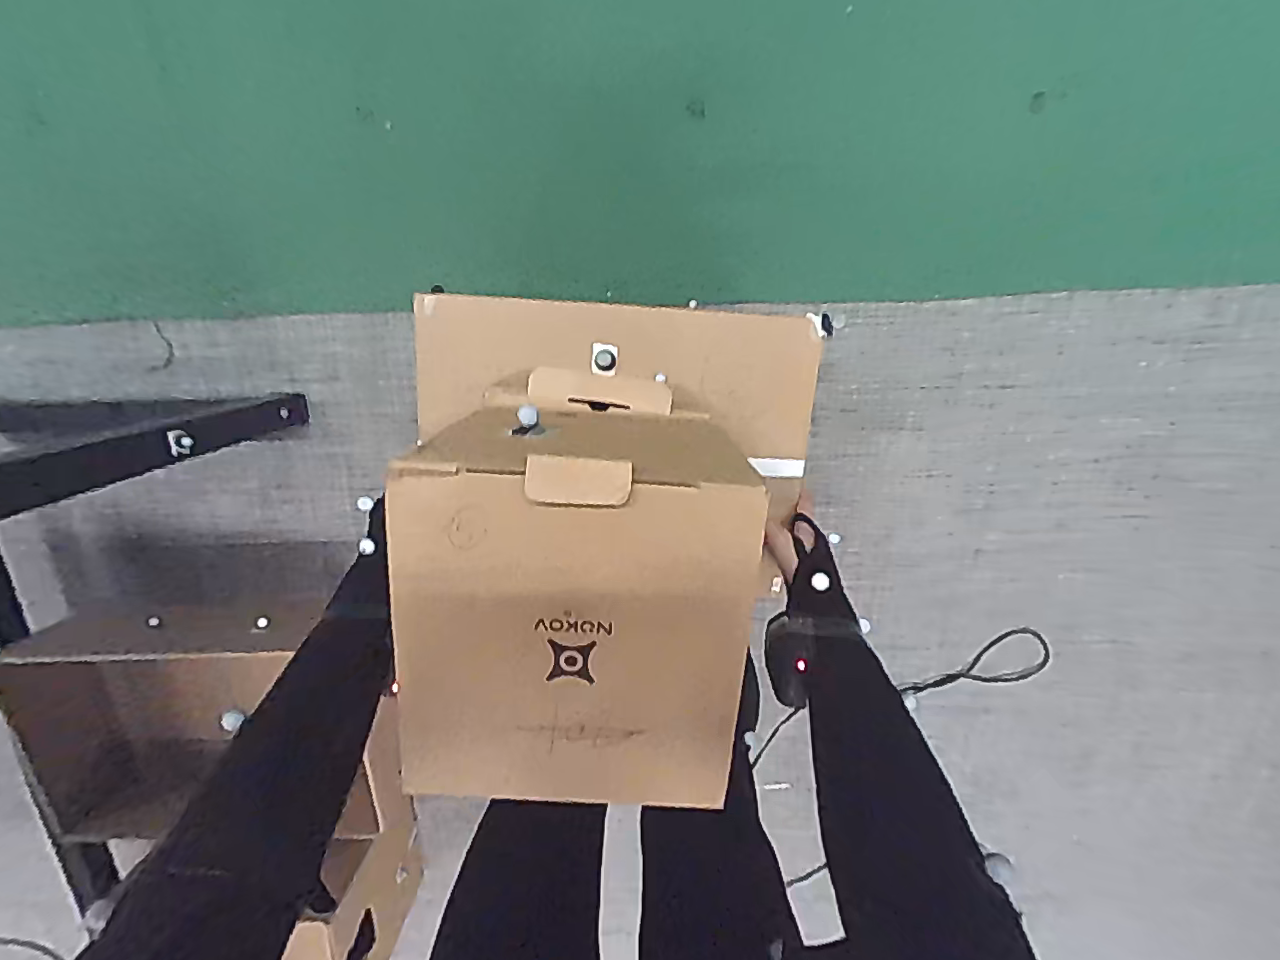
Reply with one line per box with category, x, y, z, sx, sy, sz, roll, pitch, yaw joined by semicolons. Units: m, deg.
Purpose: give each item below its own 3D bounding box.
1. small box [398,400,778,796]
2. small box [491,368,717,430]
small box;-0.030;0.052;0.328;0.168;0.176;0.179;5;107;-2
small box;-0.038;0.001;0.482;0.168;0.176;0.179;7;107;-3
